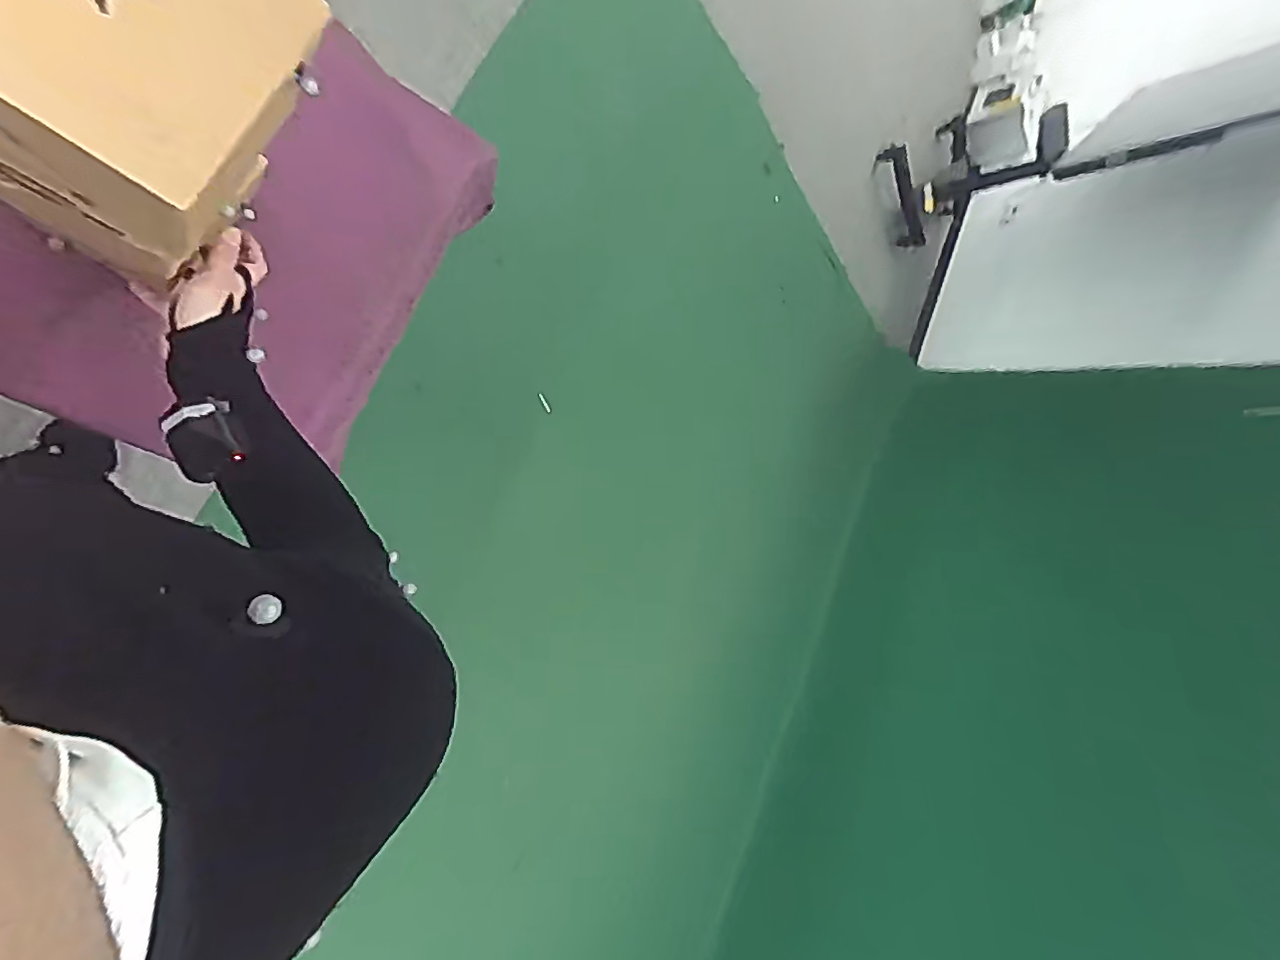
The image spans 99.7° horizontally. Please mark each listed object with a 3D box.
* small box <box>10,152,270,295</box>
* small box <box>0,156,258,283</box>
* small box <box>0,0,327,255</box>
[{"bbox_3d":[-0.549,-0.329,0.587,0.168,0.176,0.179,37,73,-39],"label":"small box"},{"bbox_3d":[-0.450,-0.295,0.461,0.168,0.176,0.179,33,74,-39],"label":"small box"},{"bbox_3d":[-0.339,-0.275,0.344,0.168,0.176,0.179,34,73,-39],"label":"small box"}]
